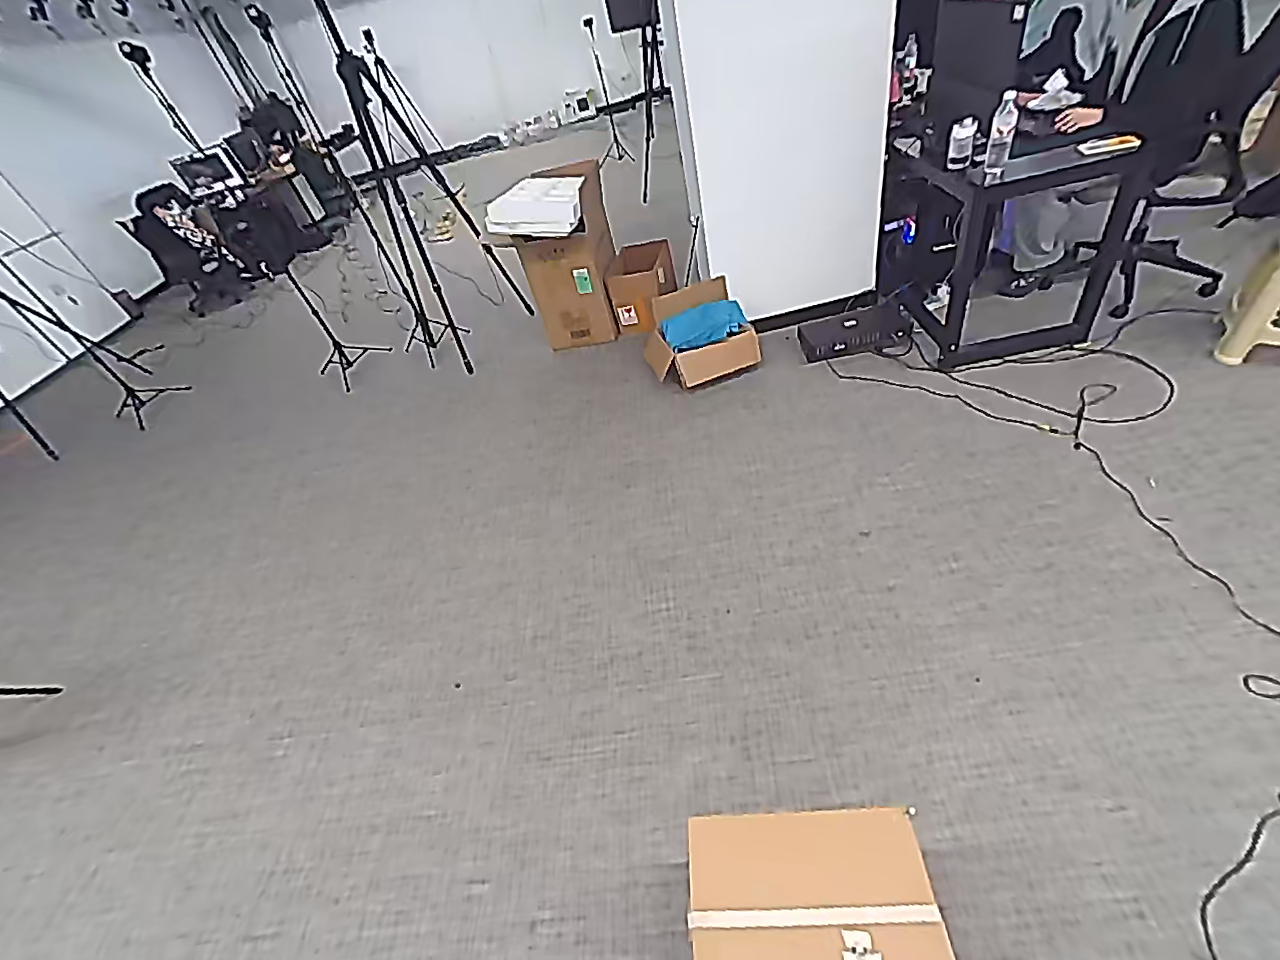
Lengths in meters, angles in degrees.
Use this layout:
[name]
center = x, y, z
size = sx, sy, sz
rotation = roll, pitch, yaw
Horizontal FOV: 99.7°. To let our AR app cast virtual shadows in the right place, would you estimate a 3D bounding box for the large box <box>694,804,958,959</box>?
[large box]
center = 0.327, 0.834, 1.001
size = 0.408, 0.320, 0.320
rotation = -9, 42, 9
